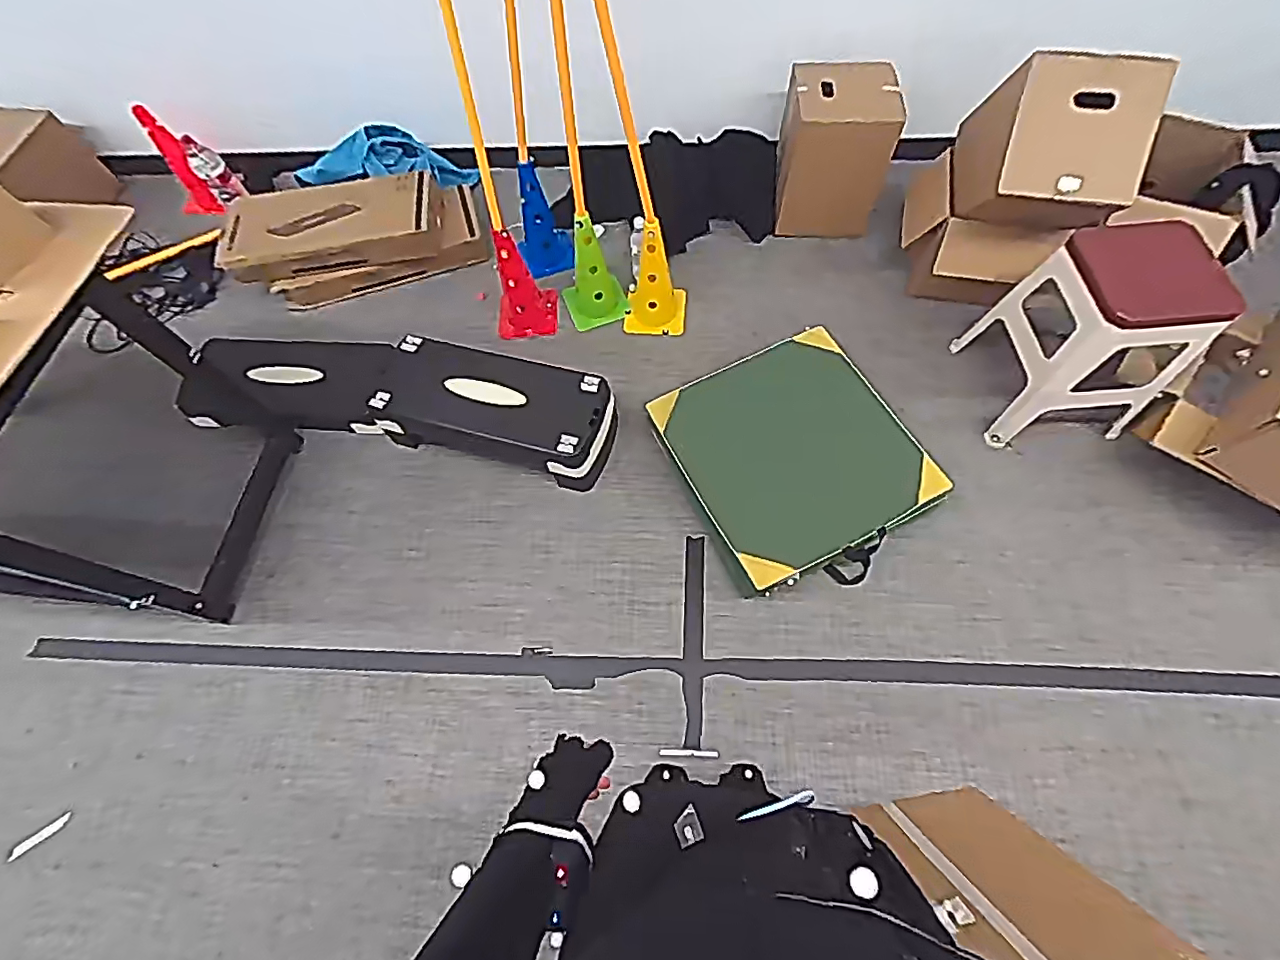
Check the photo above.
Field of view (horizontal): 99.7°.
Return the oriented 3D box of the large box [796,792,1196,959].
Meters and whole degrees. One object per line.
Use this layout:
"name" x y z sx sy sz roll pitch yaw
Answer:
"large box" 0.435 0.674 0.692 0.320 0.408 0.320 -11 84 -1
